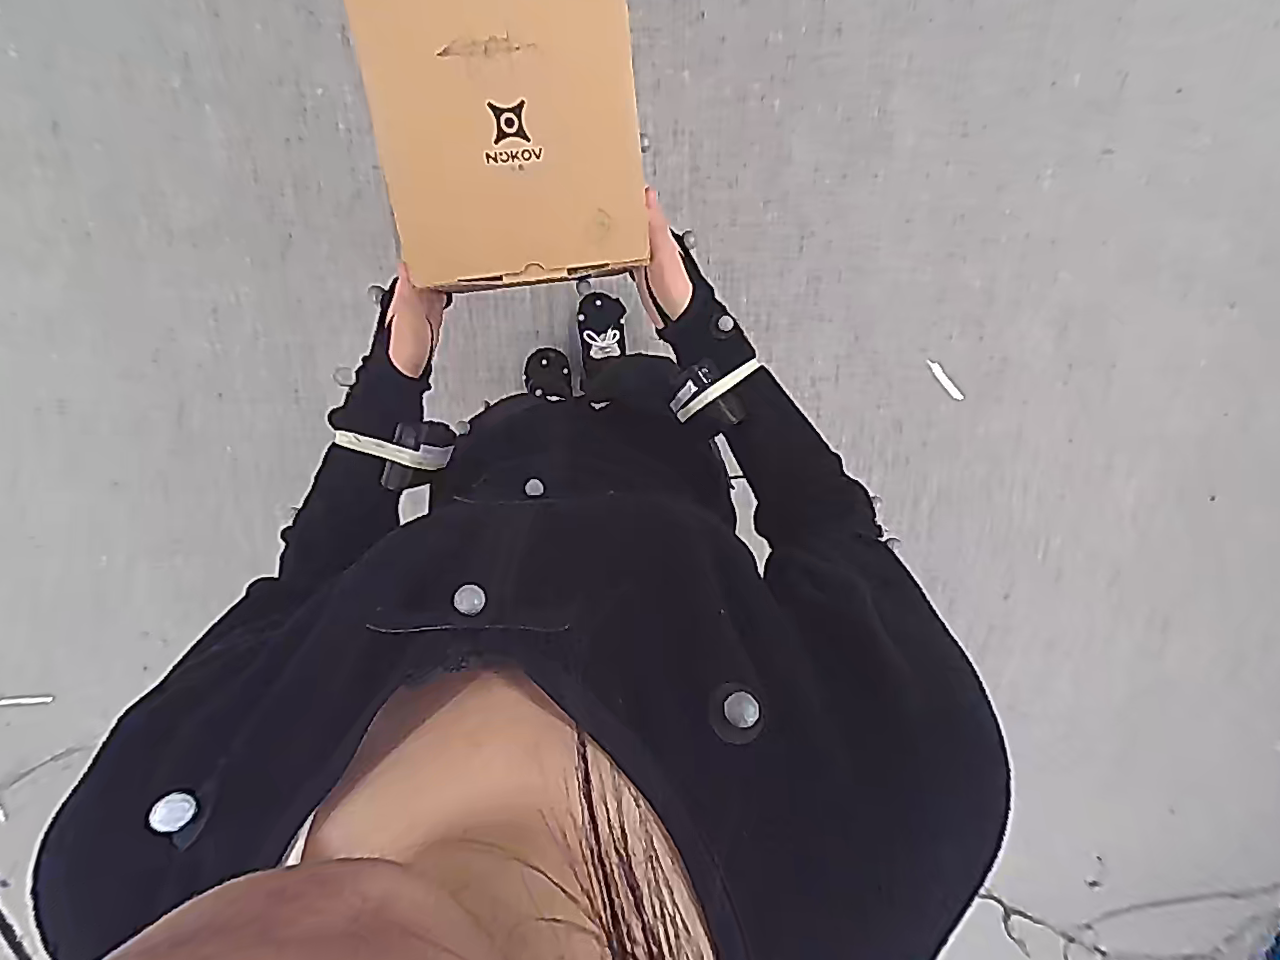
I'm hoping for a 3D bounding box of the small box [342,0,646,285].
[{"bbox_3d":[-0.096,-0.249,0.415,0.168,0.176,0.179,-10,109,-6],"label":"small box"}]
